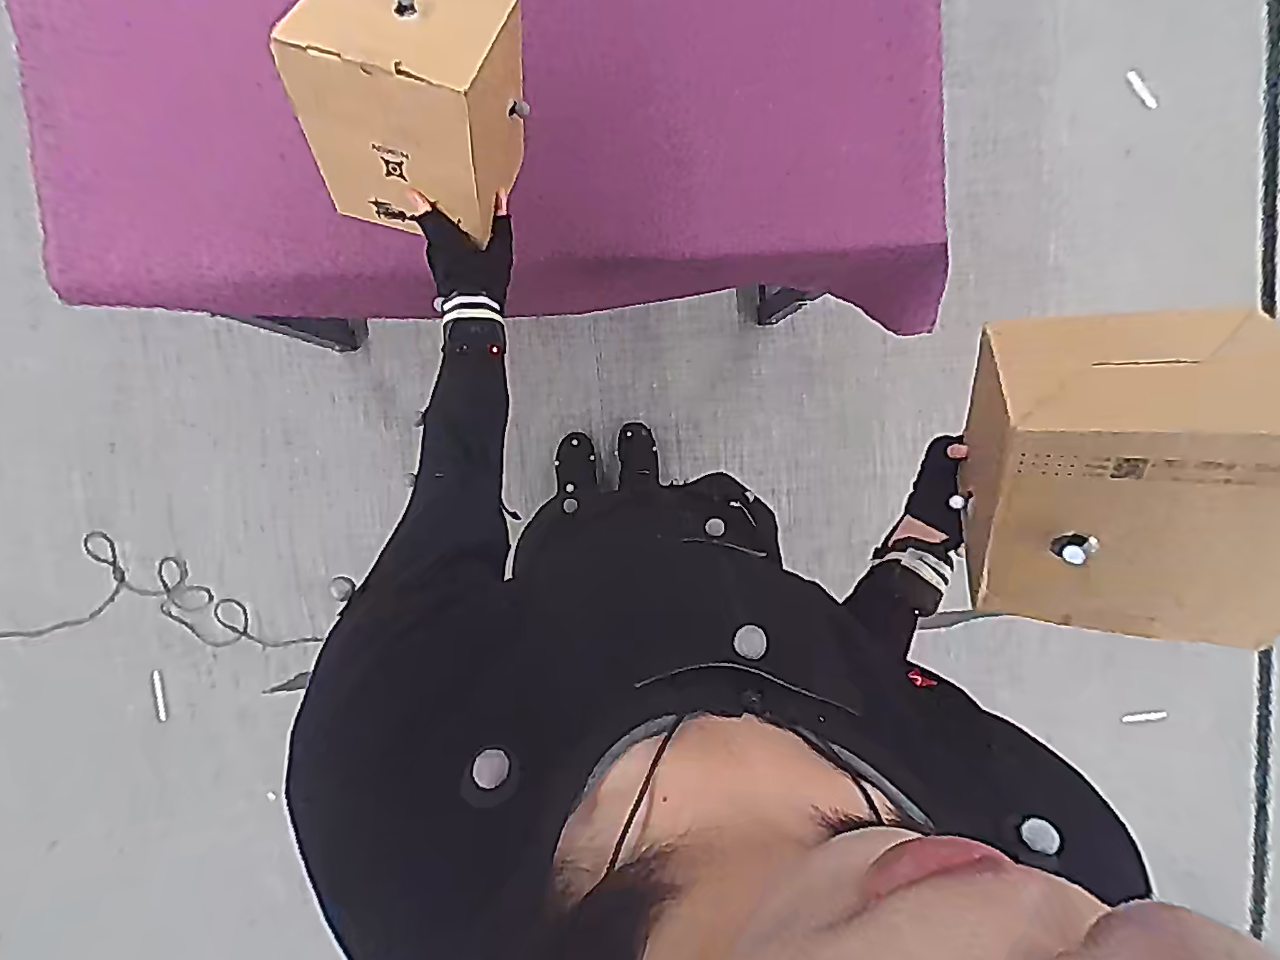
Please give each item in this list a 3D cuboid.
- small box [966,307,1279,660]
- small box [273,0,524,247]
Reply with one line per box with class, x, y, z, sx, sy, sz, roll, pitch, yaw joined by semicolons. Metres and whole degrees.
small box;0.343;-0.009;0.383;0.168;0.179;0.176;5;128;24
small box;-0.221;-0.383;0.552;0.168;0.179;0.176;14;63;-5
